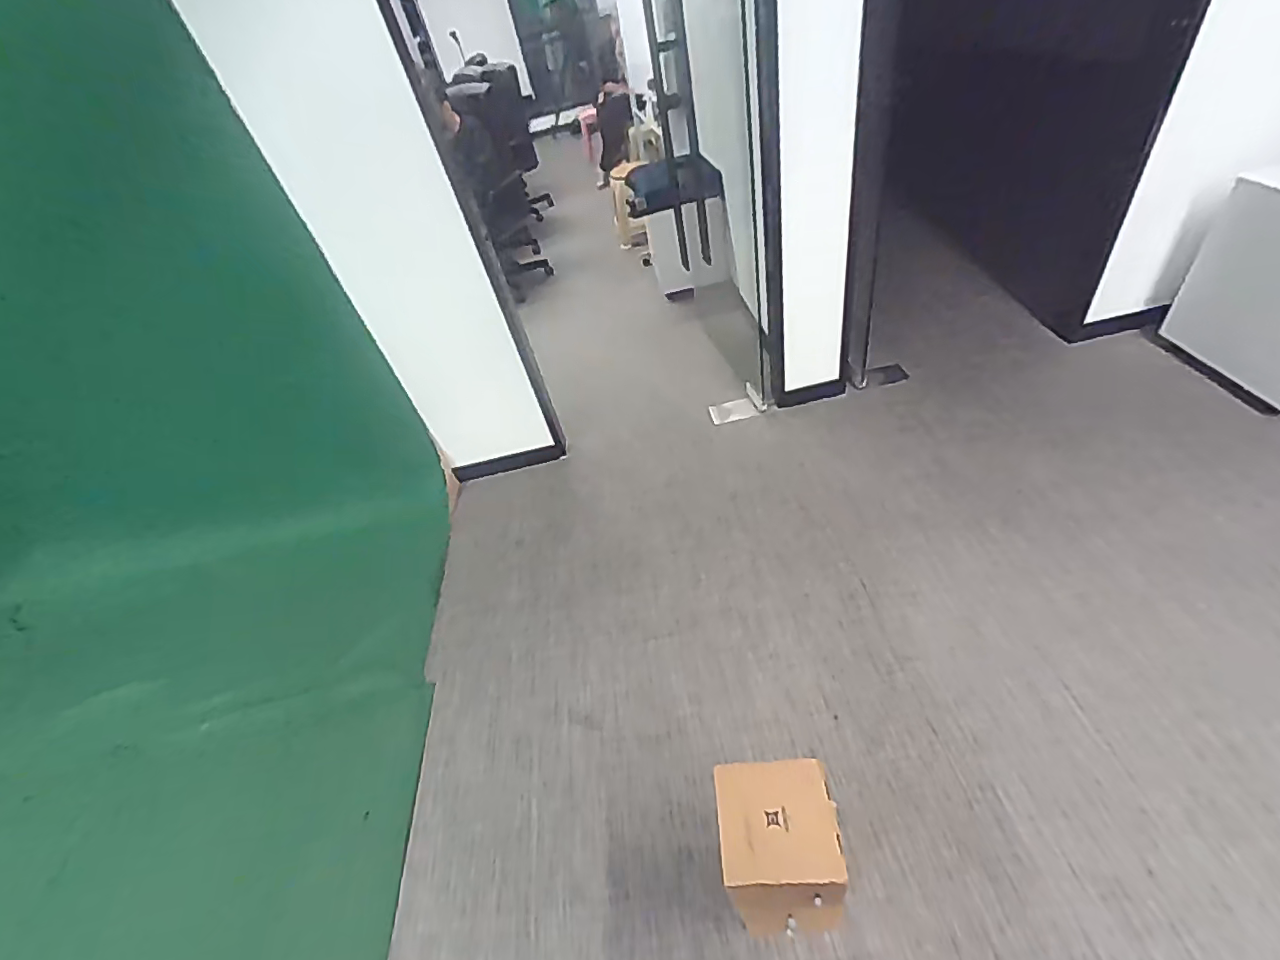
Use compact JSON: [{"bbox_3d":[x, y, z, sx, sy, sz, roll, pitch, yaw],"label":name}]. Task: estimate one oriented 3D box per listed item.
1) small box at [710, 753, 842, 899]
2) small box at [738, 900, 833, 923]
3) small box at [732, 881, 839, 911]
[{"bbox_3d":[0.217,0.565,0.881,0.179,0.176,0.168,-9,43,9],"label":"small box"},{"bbox_3d":[0.285,0.790,1.107,0.179,0.176,0.168,-9,43,9],"label":"small box"},{"bbox_3d":[0.252,0.679,0.996,0.179,0.176,0.168,-11,45,7],"label":"small box"}]
